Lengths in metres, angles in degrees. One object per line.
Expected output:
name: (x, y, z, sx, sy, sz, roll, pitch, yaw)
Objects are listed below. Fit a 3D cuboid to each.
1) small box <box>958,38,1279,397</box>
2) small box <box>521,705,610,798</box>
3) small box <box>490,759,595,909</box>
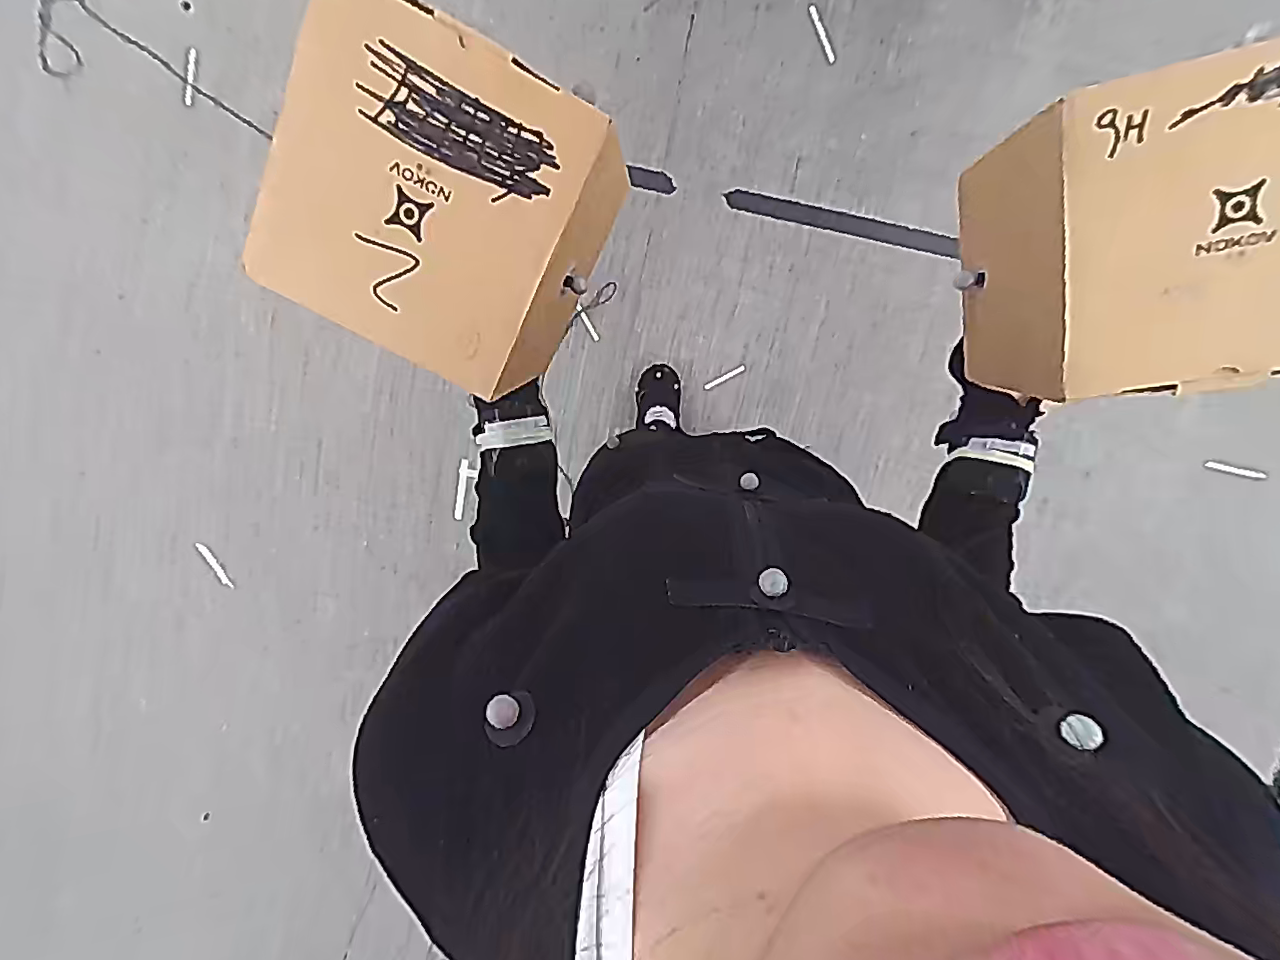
small box: (0.342, -0.166, 0.379, 0.168, 0.176, 0.179, -7, 104, 13)
small box: (-0.176, 0.638, 1.211, 0.179, 0.176, 0.168, 20, 98, 1)
small box: (-0.182, 0.676, 1.052, 0.168, 0.176, 0.179, 5, 99, 3)
